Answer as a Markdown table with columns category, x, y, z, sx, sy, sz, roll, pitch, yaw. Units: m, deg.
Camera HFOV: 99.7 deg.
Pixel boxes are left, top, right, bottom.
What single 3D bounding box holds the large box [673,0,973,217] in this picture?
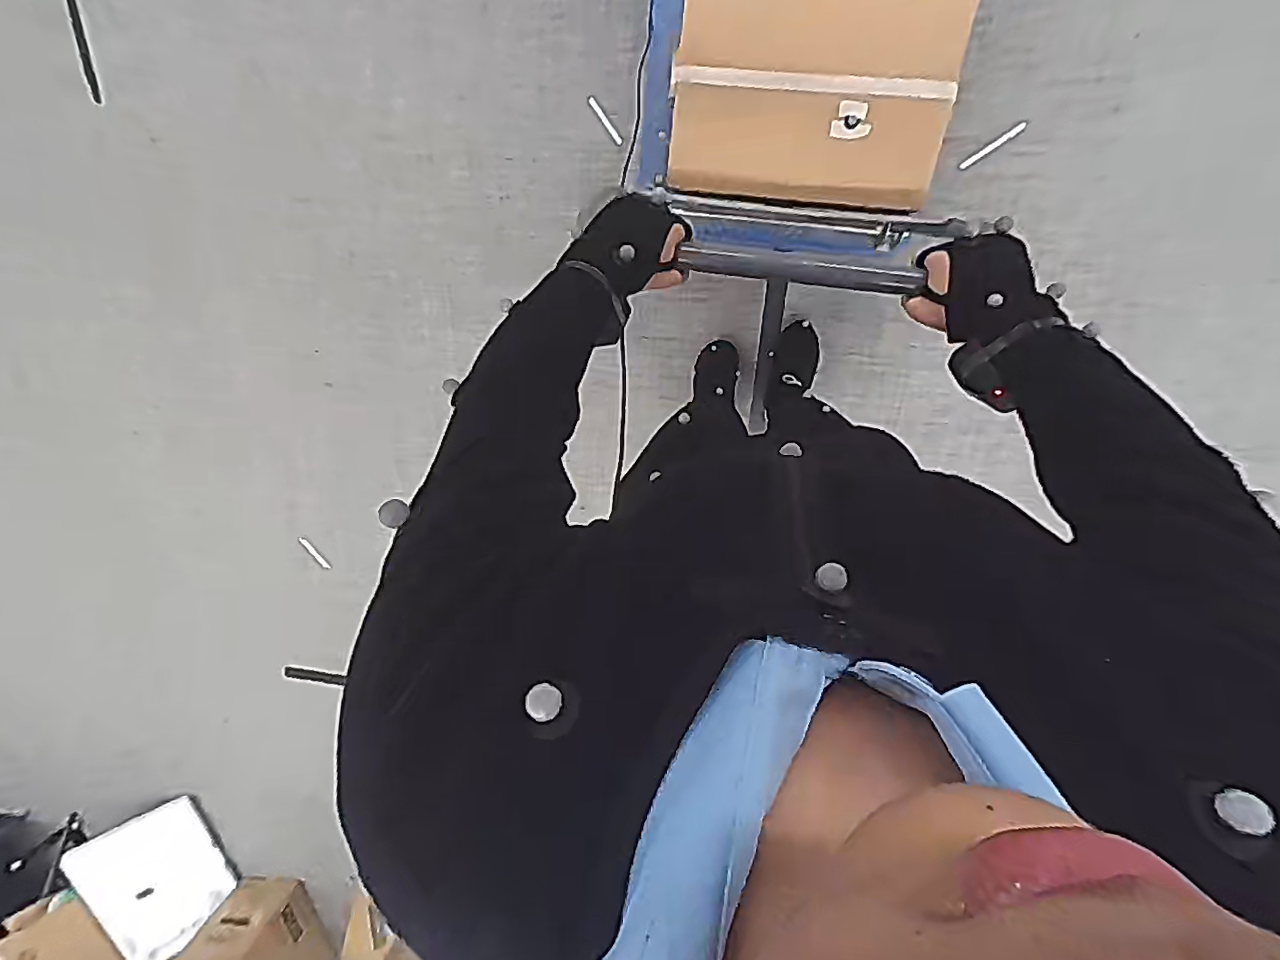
| category | x | y | z | sx | sy | sz | roll | pitch | yaw |
| --- | --- | --- | --- | --- | --- | --- | --- | --- | --- |
| large box | 0.279 | -0.653 | 0.948 | 0.408 | 0.320 | 0.320 | 8 | 114 | 6 |
